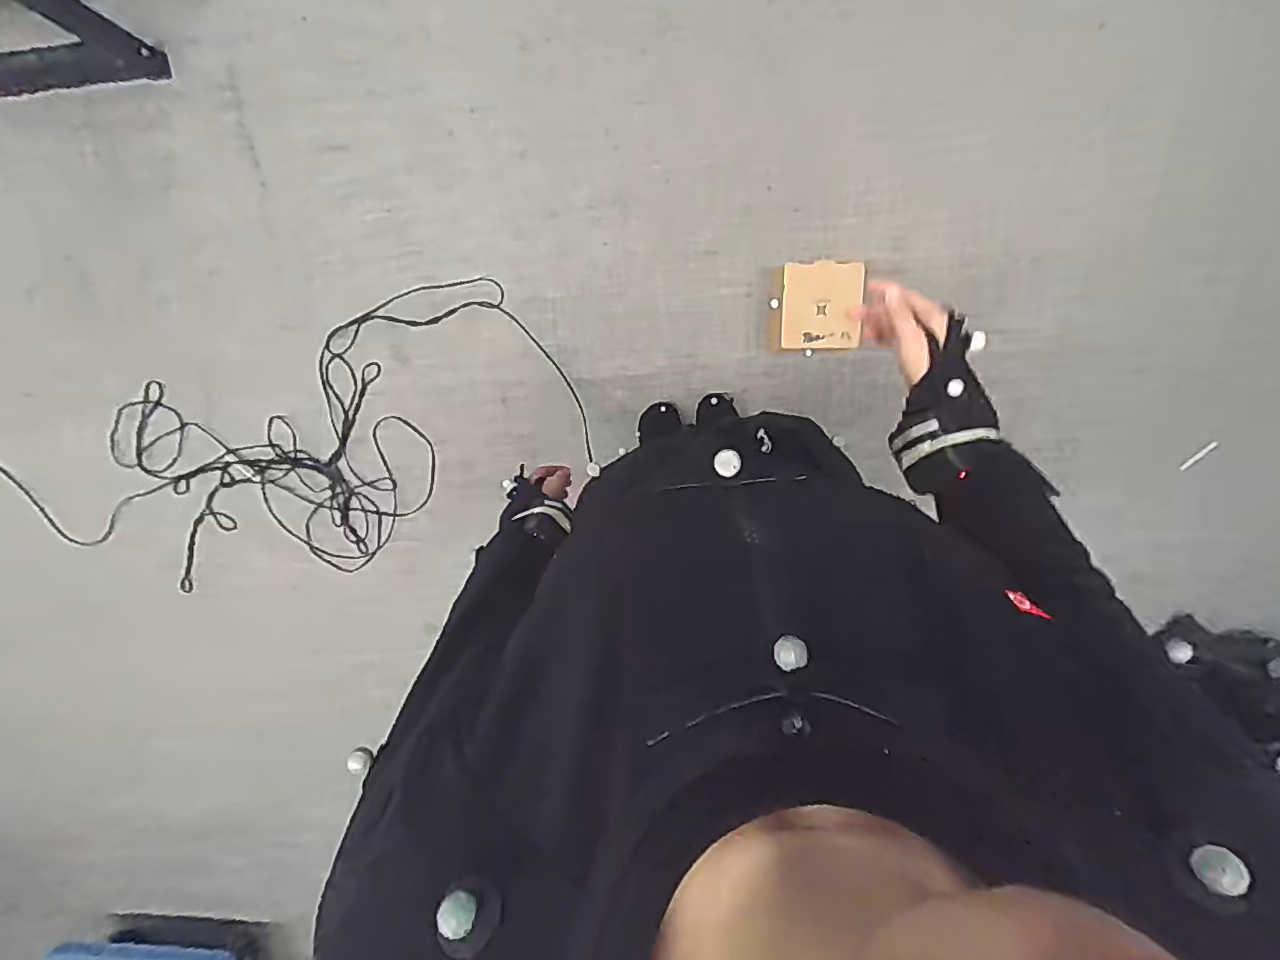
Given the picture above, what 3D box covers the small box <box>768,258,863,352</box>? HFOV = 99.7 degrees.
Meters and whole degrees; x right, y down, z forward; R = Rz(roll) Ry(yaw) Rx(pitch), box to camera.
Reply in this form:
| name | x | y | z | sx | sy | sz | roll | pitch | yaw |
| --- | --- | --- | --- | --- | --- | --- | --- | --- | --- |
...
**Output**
| name | x | y | z | sx | sy | sz | roll | pitch | yaw |
| --- | --- | --- | --- | --- | --- | --- | --- | --- | --- |
| small box | 0.383 | -0.383 | 1.207 | 0.168 | 0.176 | 0.179 | 1 | 99 | 4 |
